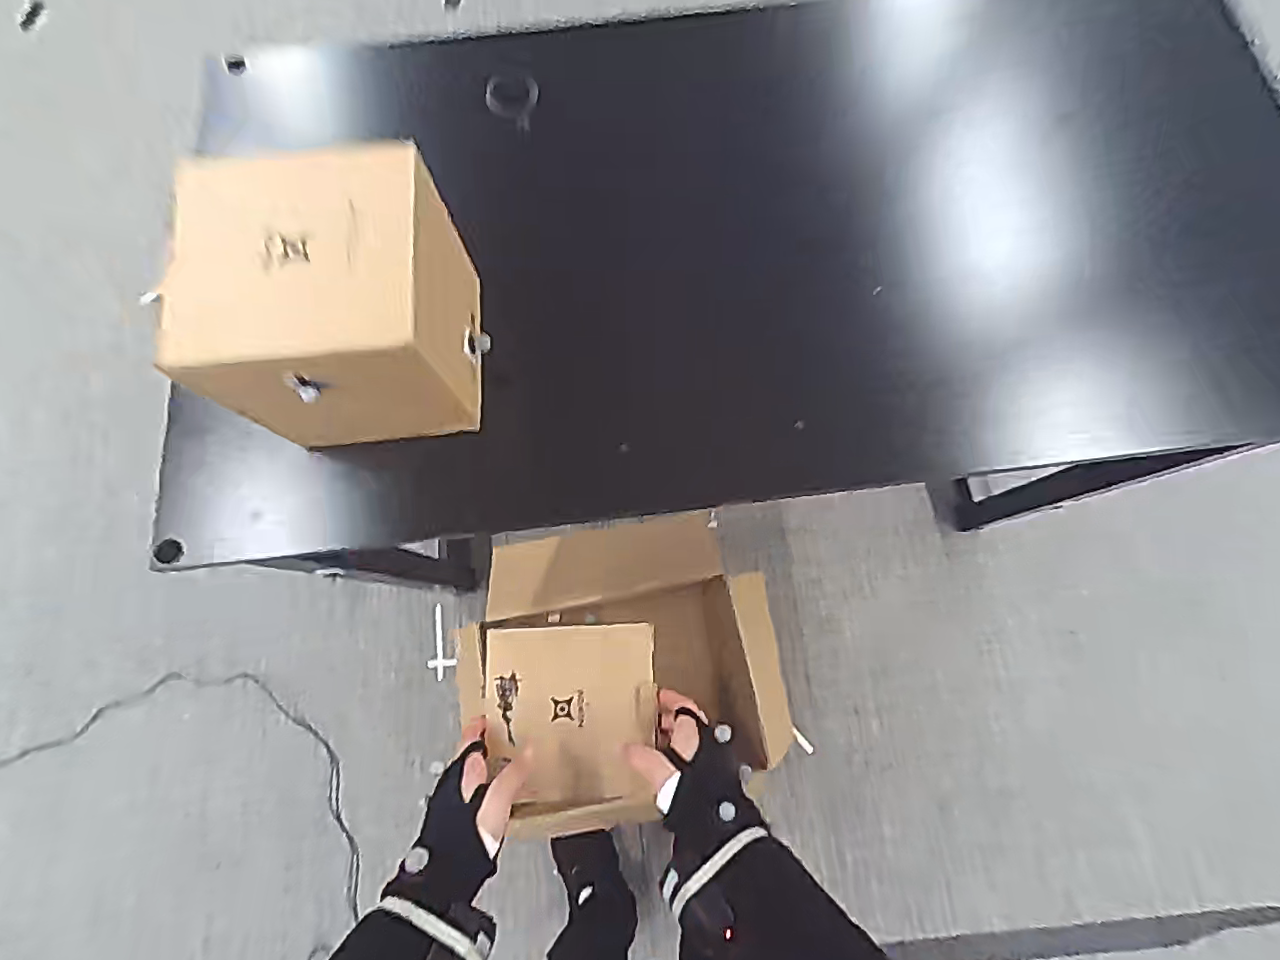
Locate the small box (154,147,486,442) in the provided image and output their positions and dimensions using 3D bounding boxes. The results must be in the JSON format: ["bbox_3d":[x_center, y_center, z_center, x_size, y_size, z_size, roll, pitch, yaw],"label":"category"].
[{"bbox_3d":[-0.241,-0.138,0.454,0.179,0.176,0.168,-6,76,-2],"label":"small box"}]
